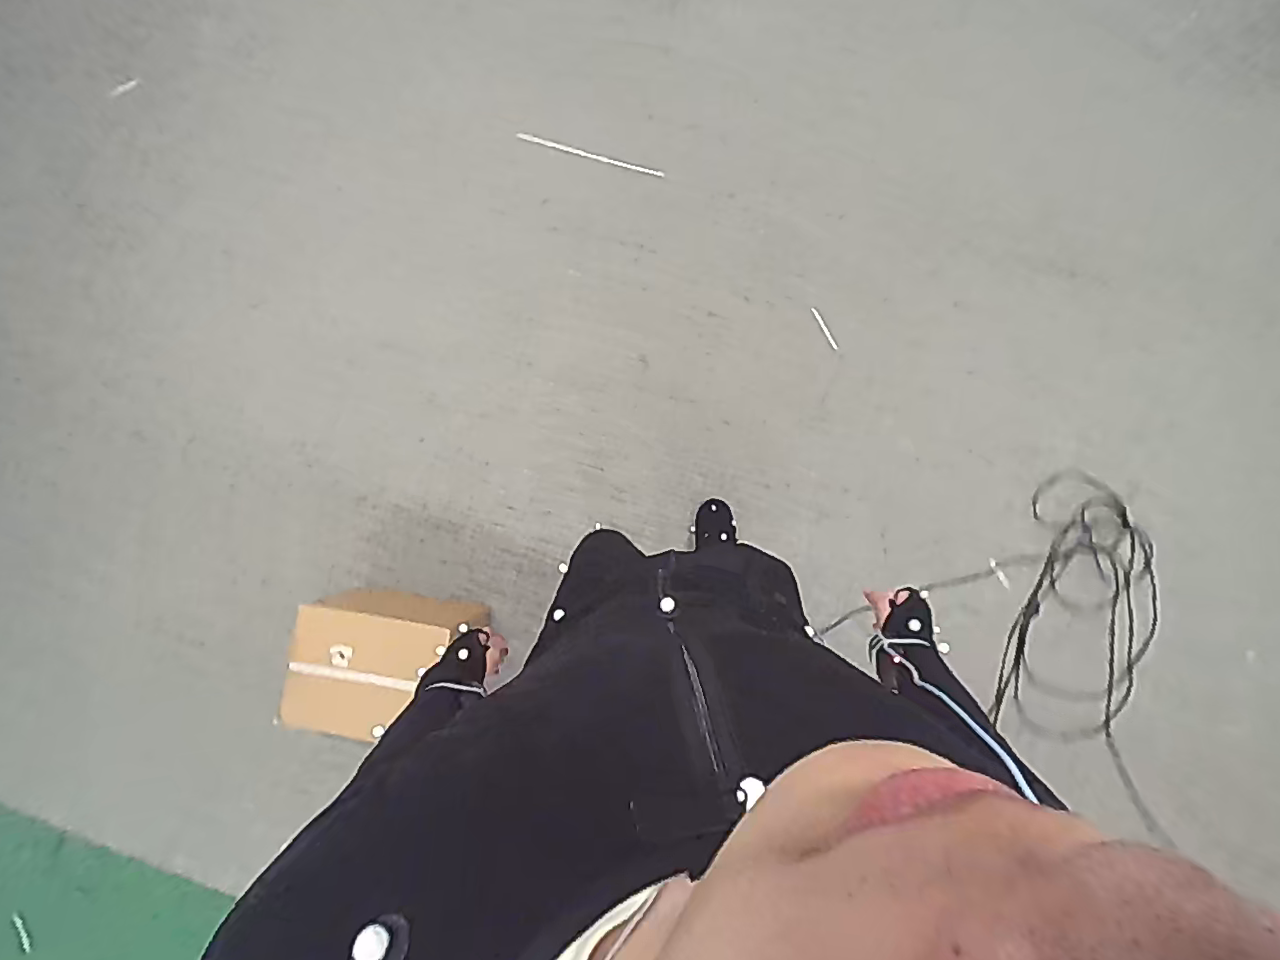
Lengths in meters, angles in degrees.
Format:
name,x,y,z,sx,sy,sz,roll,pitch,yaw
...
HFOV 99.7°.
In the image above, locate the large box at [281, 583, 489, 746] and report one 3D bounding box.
name,x,y,z,sx,sy,sz,roll,pitch,yaw
large box,-0.681,0.488,1.504,0.408,0.320,0.320,9,87,4
